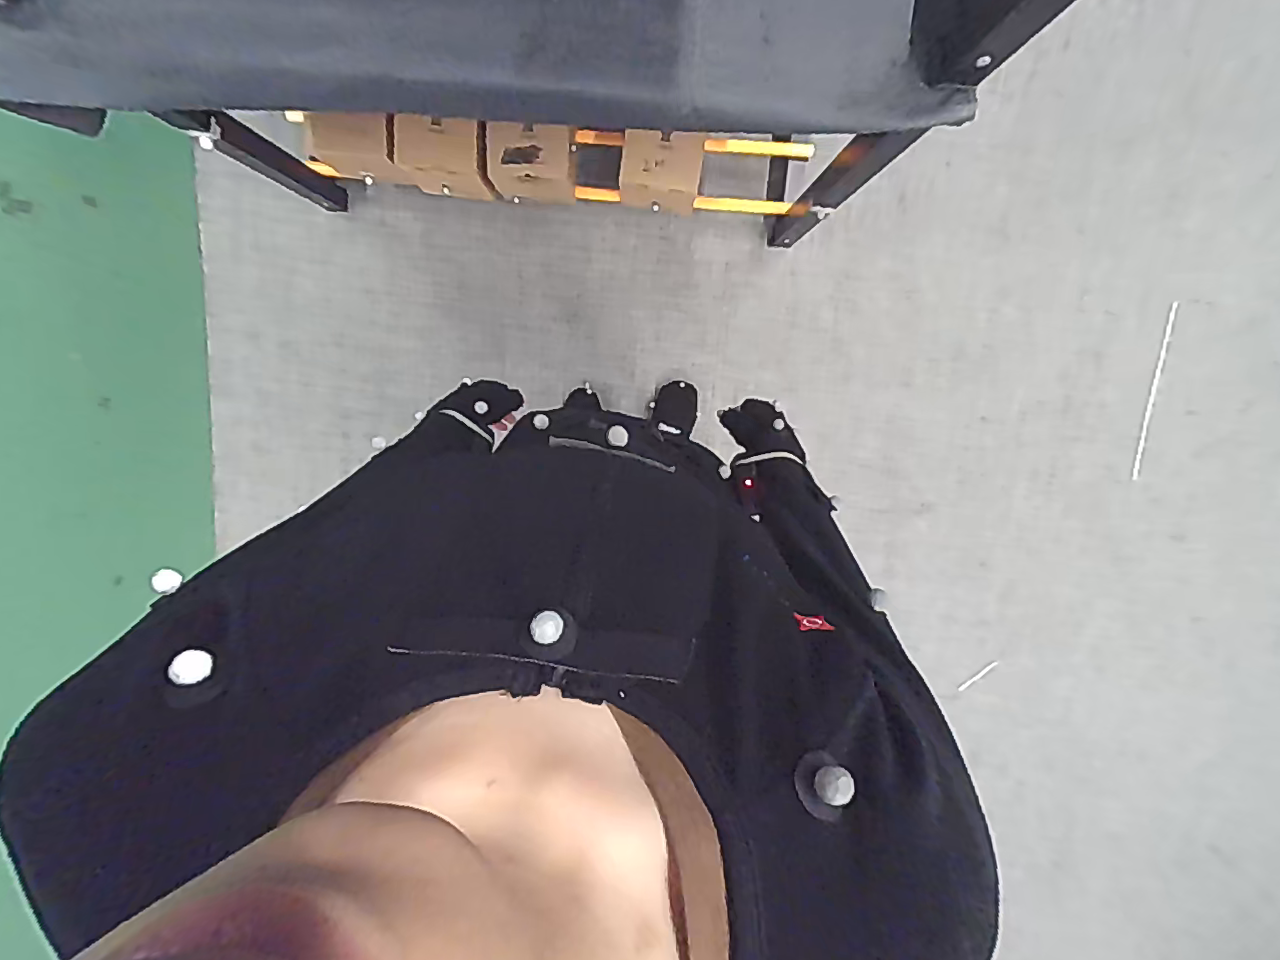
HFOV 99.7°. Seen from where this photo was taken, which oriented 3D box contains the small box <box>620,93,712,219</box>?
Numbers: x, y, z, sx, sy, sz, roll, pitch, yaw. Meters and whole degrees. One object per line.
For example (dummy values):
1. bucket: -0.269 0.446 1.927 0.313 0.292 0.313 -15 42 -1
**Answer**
1. small box: 0.051 -0.697 1.180 0.168 0.176 0.179 9 102 -1
